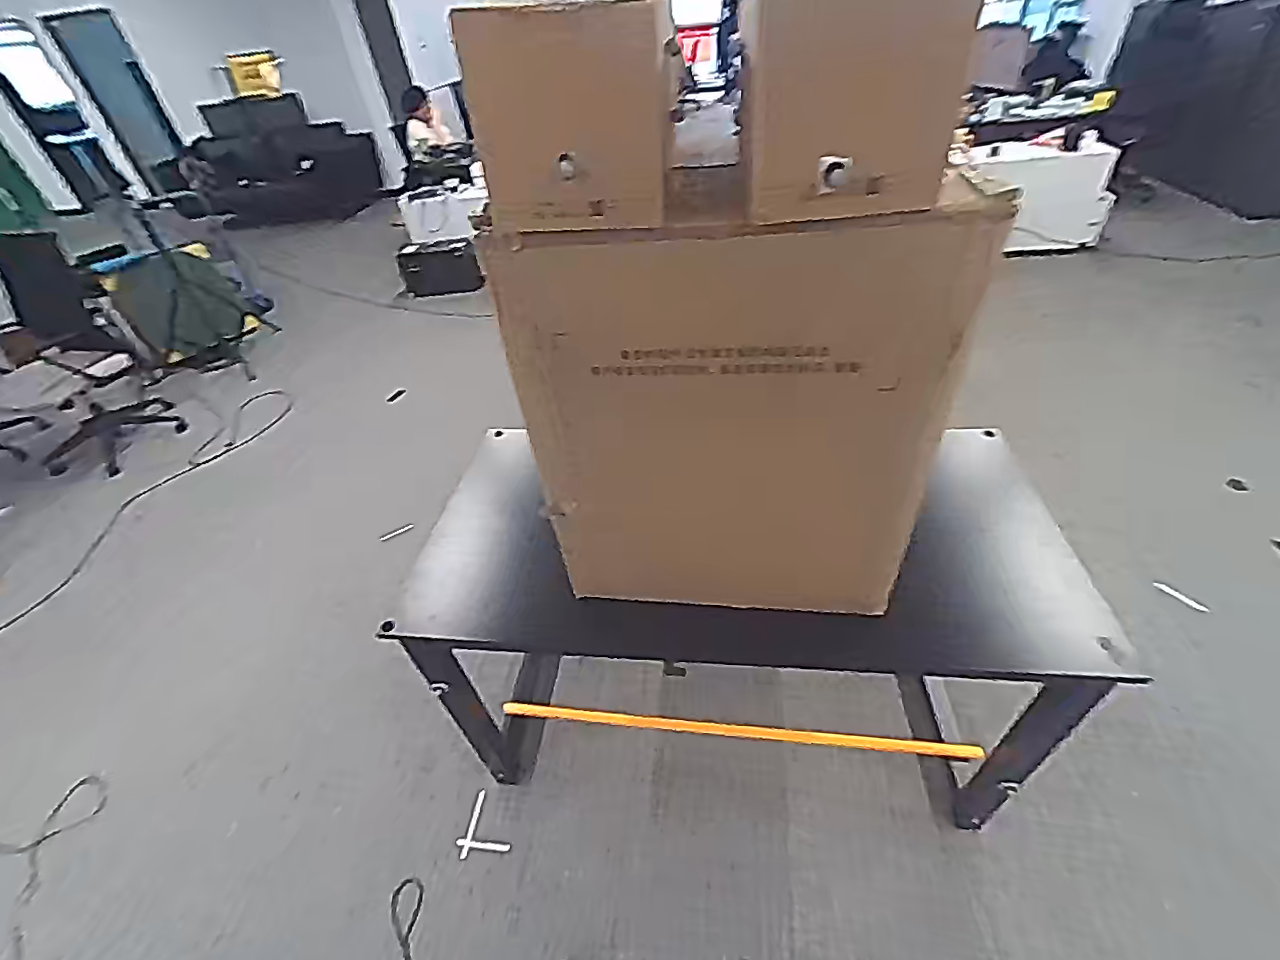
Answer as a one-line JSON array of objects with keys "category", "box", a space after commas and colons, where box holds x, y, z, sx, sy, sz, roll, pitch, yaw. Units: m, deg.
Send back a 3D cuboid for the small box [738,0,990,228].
[{"category": "small box", "box": [0.178, -0.349, 0.494, 0.168, 0.176, 0.179, -4, 43, 7]}]
